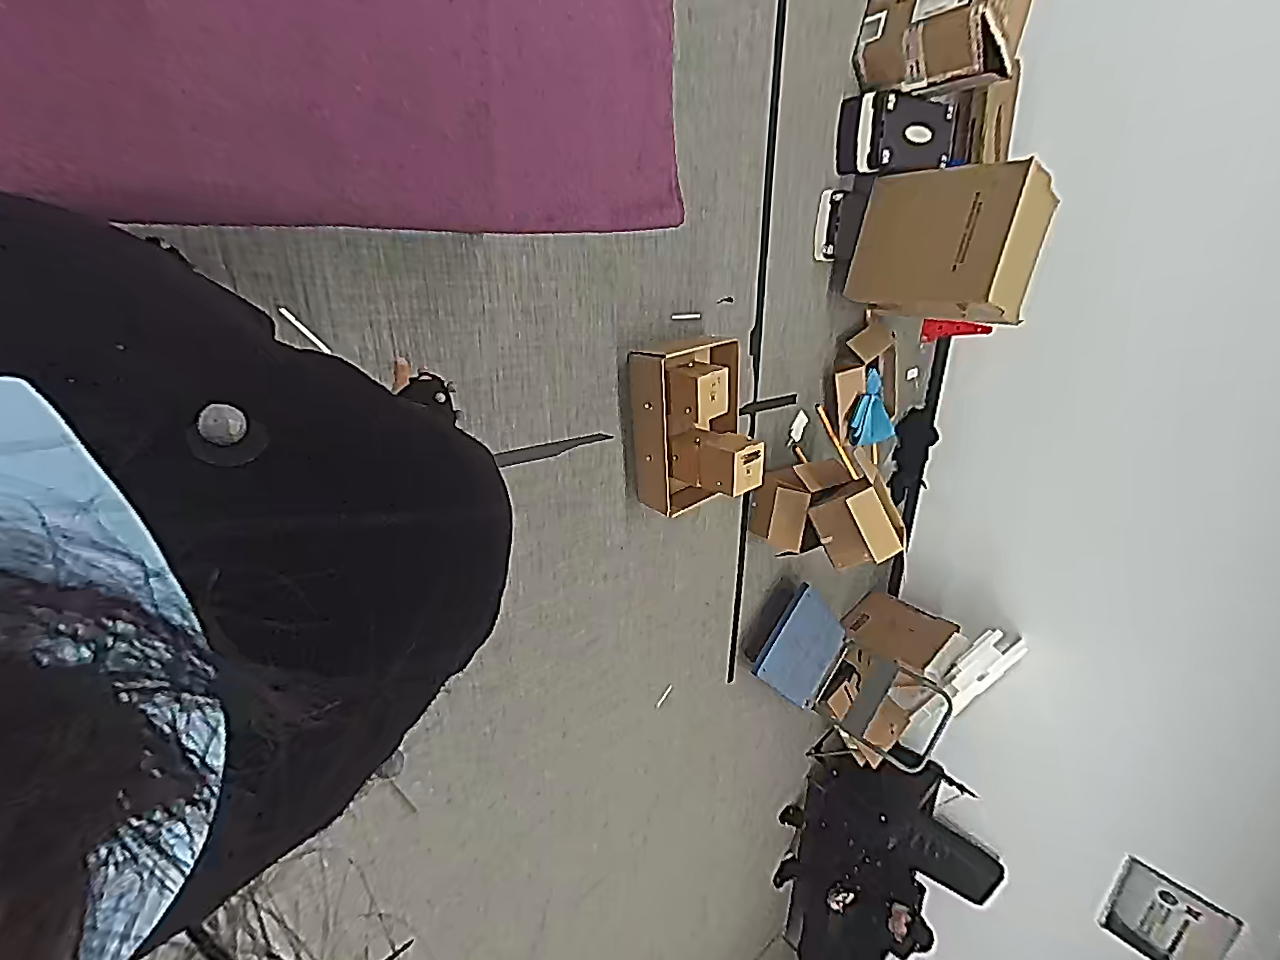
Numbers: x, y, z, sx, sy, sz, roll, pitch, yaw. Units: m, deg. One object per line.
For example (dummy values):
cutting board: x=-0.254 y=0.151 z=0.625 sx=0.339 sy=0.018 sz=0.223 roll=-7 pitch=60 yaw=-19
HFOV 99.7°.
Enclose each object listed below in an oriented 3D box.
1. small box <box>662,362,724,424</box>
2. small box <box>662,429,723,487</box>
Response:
small box: x=0.195 y=-0.329 z=2.013 sx=0.168 sy=0.176 sz=0.179 roll=-25 pitch=123 yaw=-35
small box: x=0.207 y=-0.094 z=2.121 sx=0.179 sy=0.176 sz=0.168 roll=-22 pitch=119 yaw=-36
